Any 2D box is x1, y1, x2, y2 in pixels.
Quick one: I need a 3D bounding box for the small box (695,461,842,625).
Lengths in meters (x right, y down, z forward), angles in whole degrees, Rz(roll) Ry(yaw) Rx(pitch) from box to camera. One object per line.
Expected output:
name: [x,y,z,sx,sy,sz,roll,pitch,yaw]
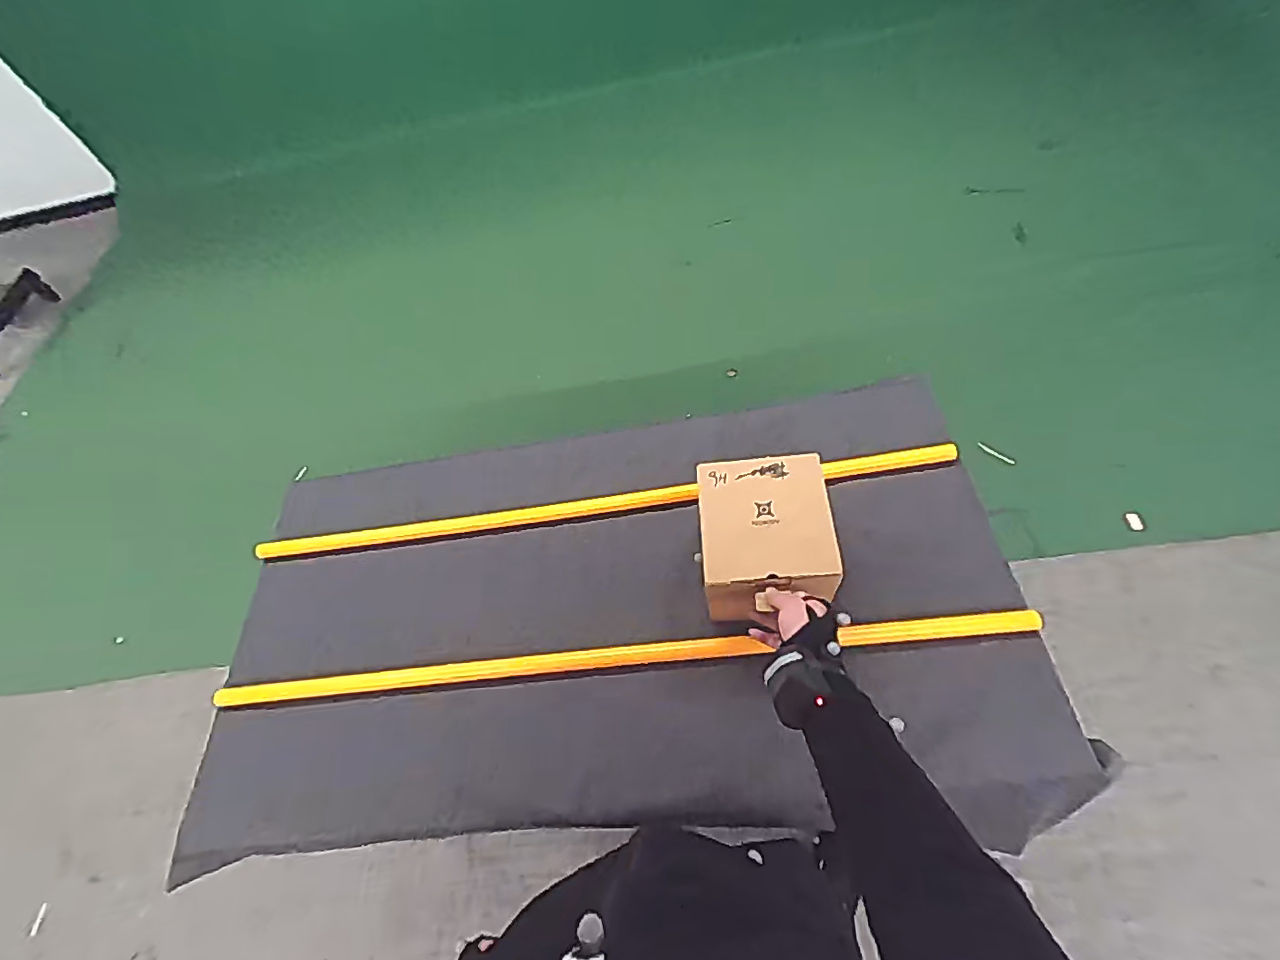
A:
small box: [0.176,0.099,0.764,0.168,0.176,0.179,-8,58,8]
